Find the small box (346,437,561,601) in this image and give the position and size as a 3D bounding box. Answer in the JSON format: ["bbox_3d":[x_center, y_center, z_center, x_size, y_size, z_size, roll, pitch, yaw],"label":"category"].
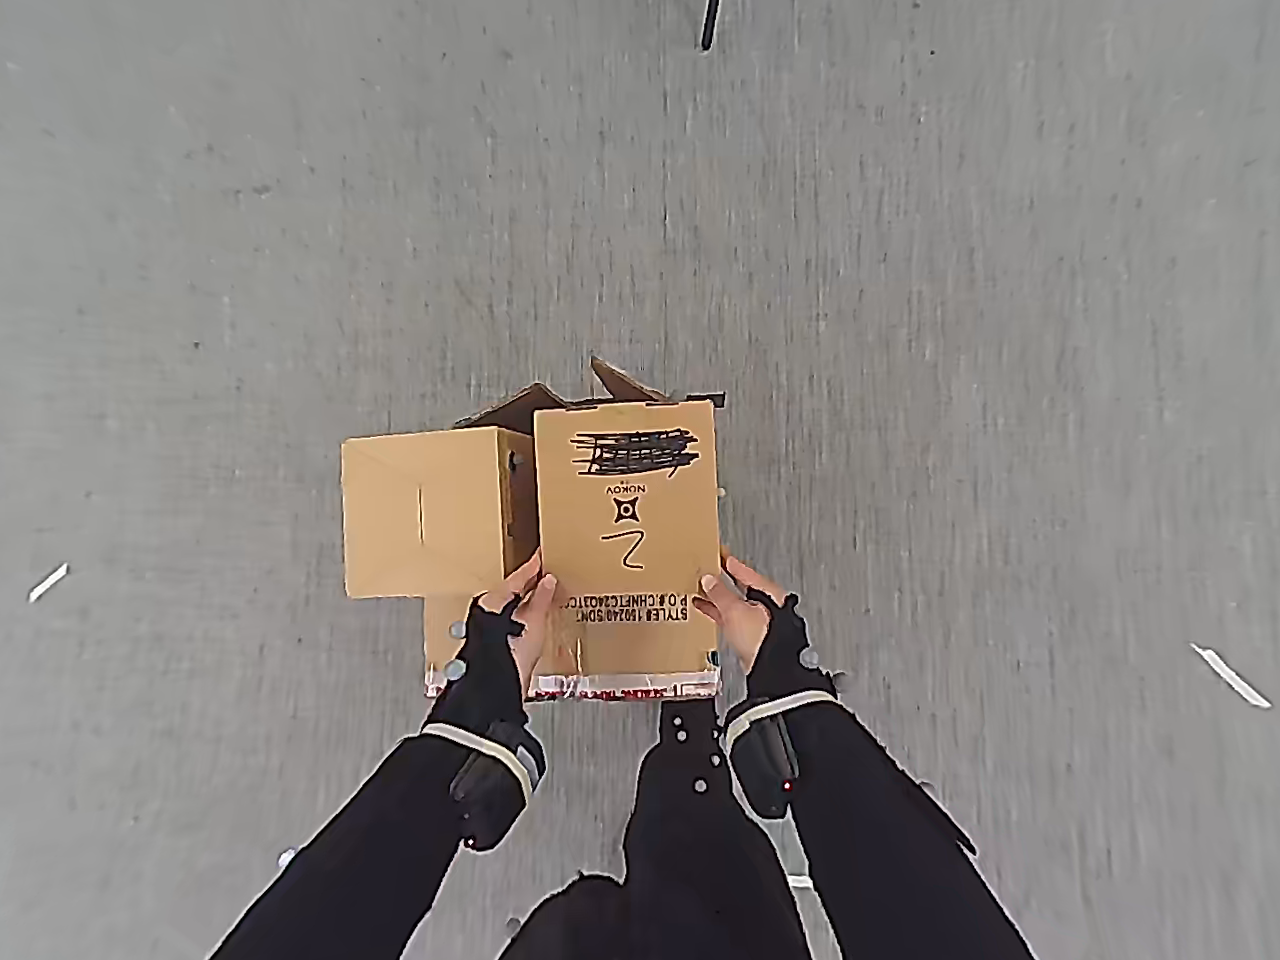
[{"bbox_3d":[-0.204,0.043,0.629,0.179,0.176,0.168,-4,87,9],"label":"small box"}]
